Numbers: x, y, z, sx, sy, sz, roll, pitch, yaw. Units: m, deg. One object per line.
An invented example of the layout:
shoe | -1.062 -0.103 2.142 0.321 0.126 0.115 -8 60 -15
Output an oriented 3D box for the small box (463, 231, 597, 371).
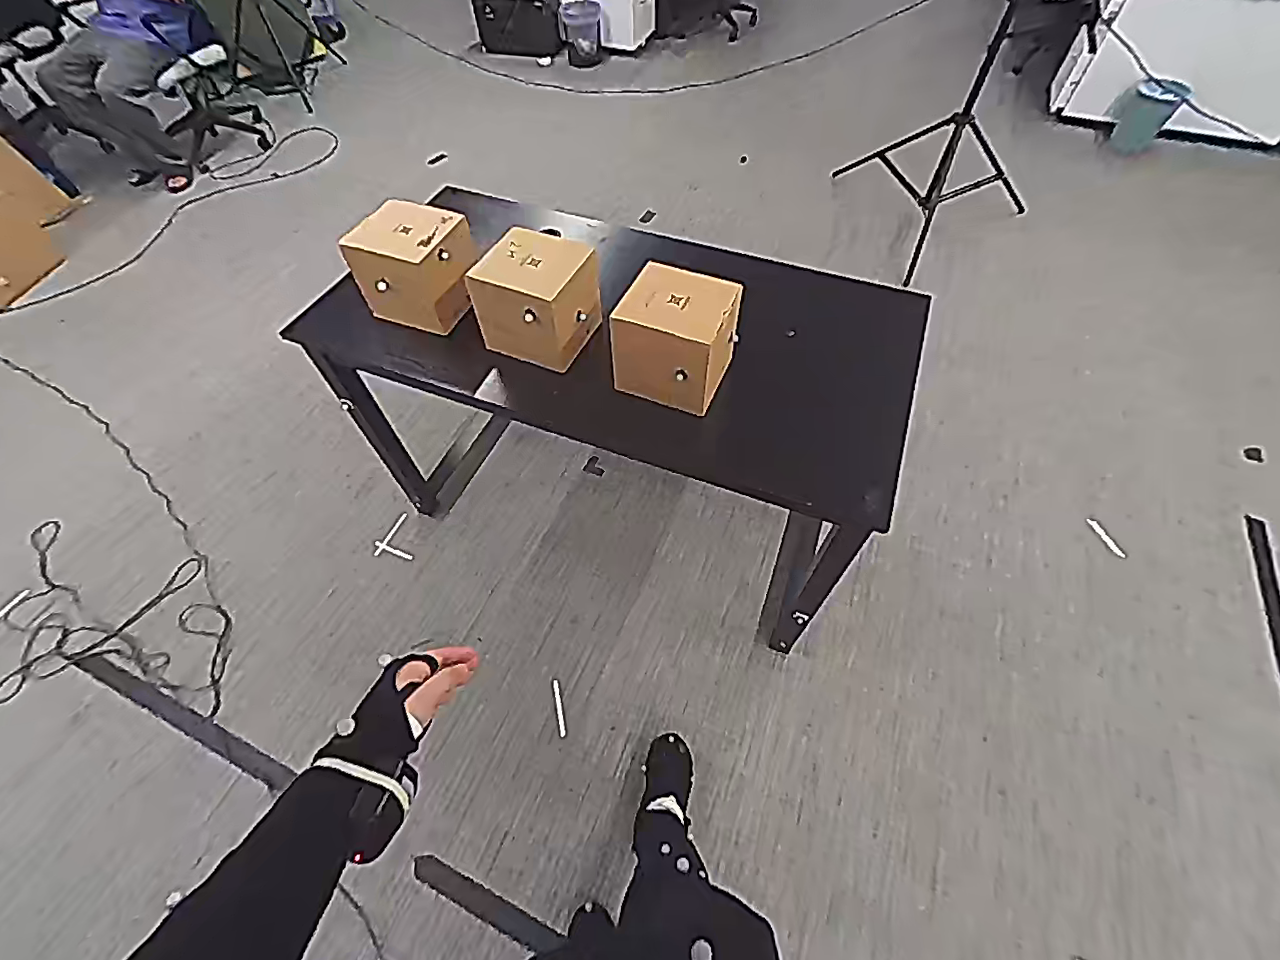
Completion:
small box | -0.193 -0.330 1.016 0.179 0.176 0.168 20 58 14

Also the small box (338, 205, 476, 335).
small box | -0.446 -0.414 1.078 0.179 0.176 0.168 17 58 12

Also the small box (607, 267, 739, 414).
small box | 0.058 -0.241 0.954 0.179 0.176 0.168 18 57 14
